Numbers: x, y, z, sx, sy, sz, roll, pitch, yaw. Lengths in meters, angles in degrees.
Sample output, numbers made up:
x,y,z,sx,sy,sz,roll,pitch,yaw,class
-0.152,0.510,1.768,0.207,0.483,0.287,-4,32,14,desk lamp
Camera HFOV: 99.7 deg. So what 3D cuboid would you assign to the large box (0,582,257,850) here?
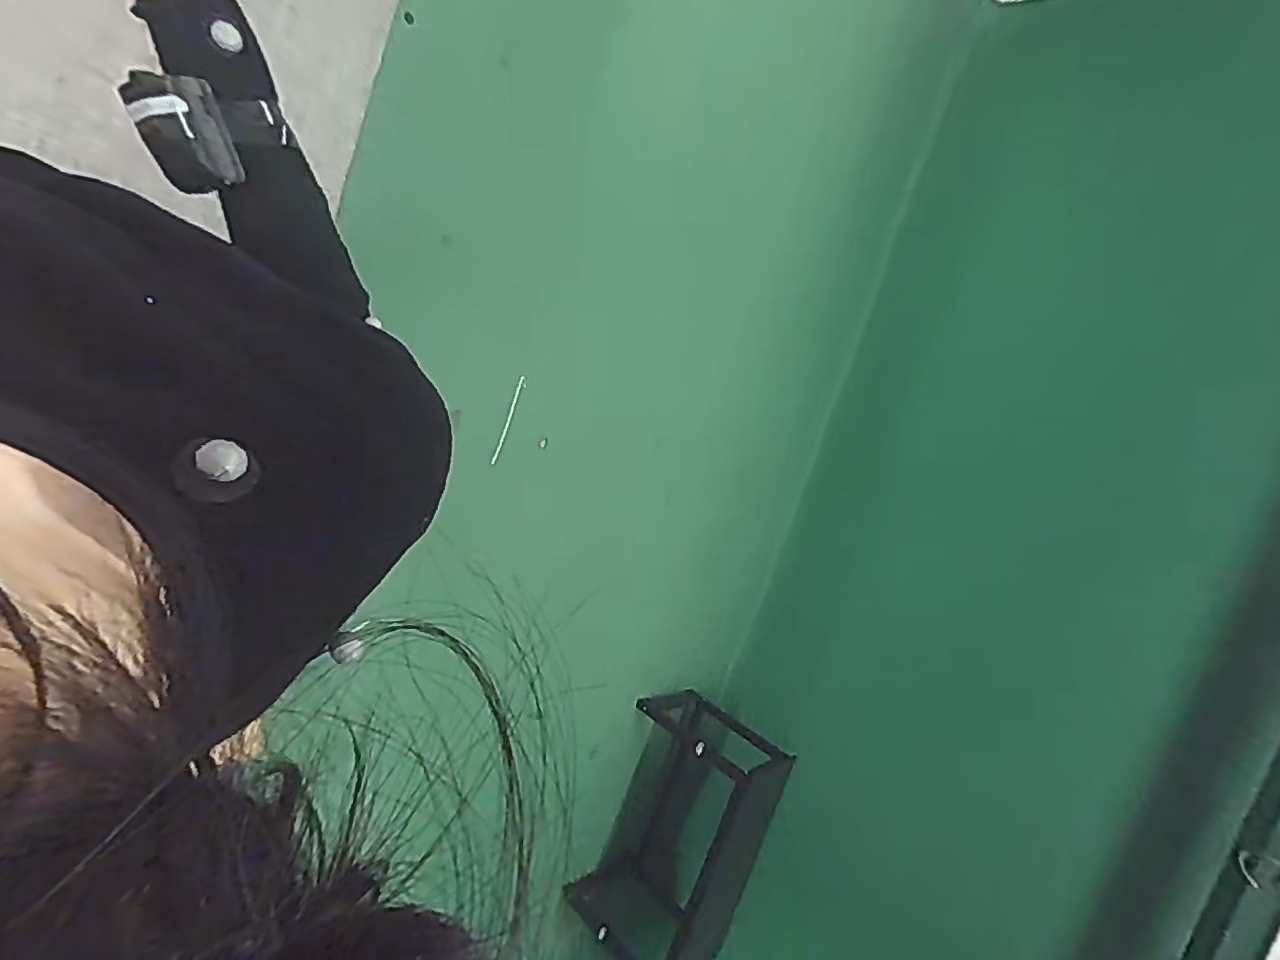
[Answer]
x,y,z,sx,sy,sz,roll,pitch,yaw,class
-1.100,0.453,1.150,0.408,0.320,0.320,-7,113,-49,large box
